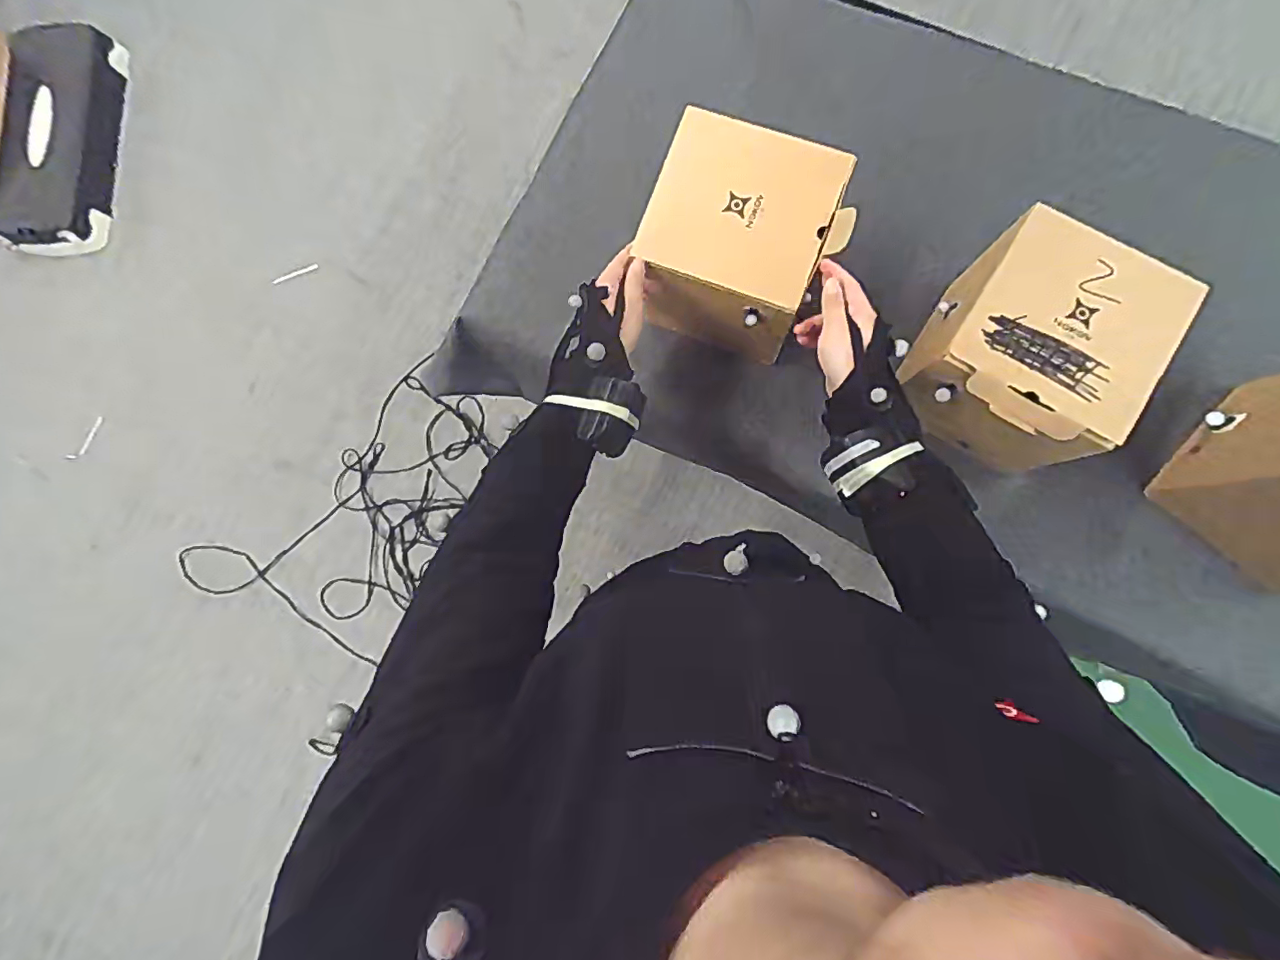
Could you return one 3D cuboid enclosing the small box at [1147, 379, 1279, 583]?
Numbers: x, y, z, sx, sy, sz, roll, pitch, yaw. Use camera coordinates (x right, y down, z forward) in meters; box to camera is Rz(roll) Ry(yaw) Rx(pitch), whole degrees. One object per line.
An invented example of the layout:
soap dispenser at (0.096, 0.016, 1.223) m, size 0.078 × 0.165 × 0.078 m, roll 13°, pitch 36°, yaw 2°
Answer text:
small box at (0.683, -0.001, 0.529) m, size 0.179 × 0.176 × 0.168 m, roll 42°, pitch 88°, yaw 9°
